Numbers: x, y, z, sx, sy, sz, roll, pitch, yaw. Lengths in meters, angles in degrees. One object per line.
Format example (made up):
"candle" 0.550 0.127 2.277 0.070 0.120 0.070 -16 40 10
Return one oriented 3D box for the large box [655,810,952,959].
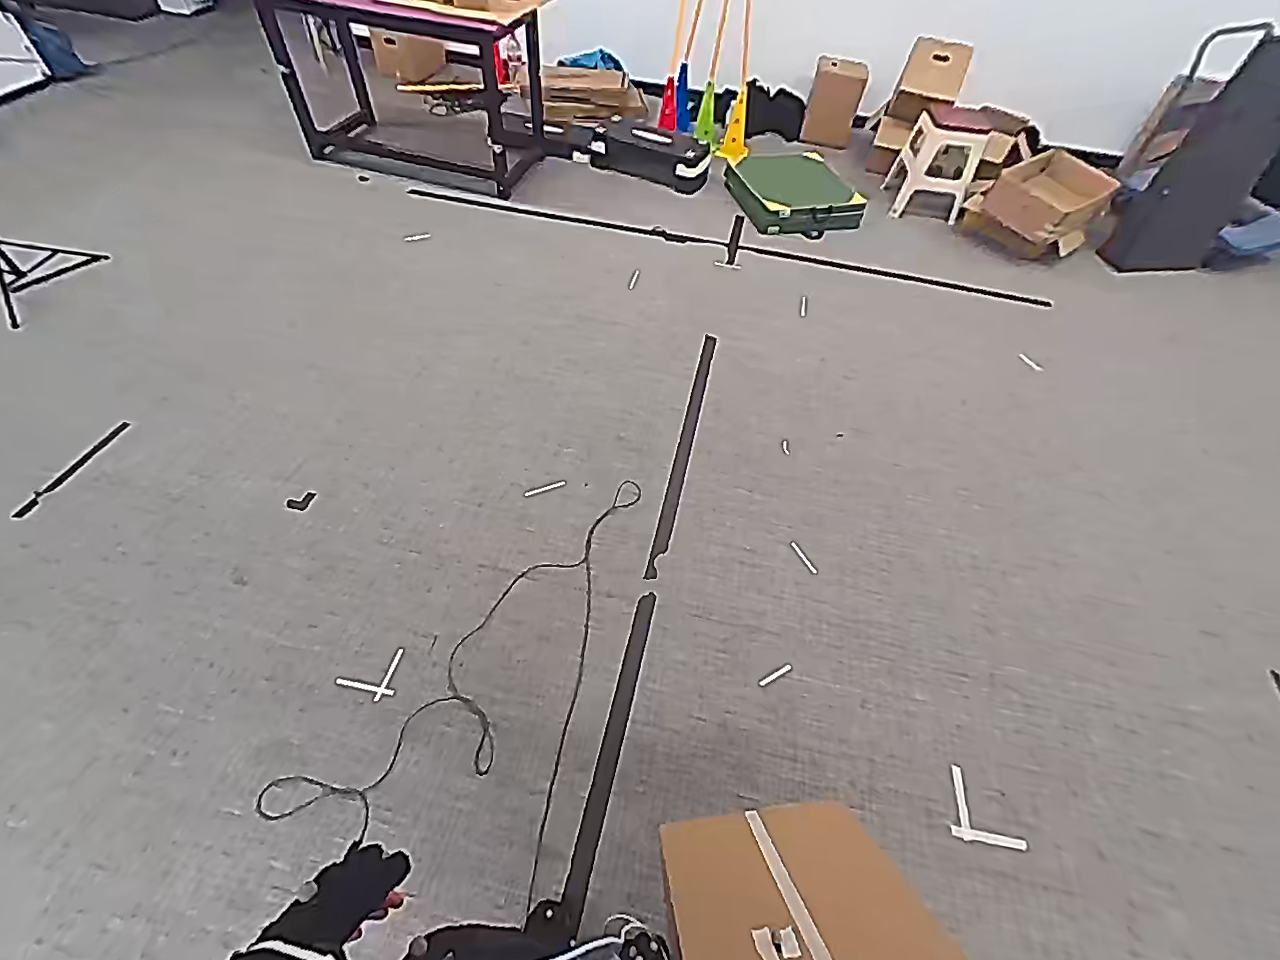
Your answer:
"large box" 0.207 0.712 0.701 0.320 0.408 0.320 -5 89 -6
